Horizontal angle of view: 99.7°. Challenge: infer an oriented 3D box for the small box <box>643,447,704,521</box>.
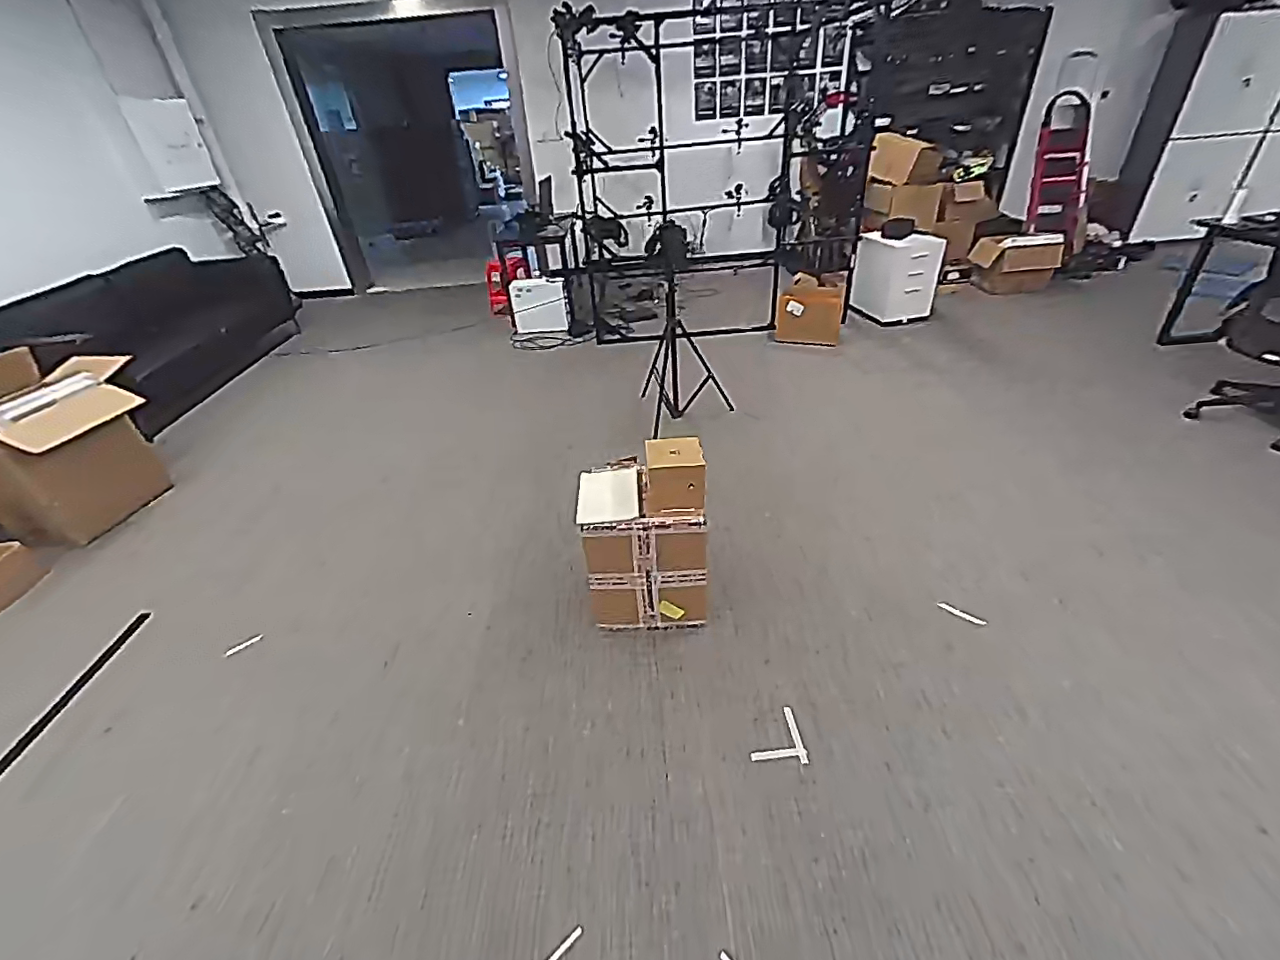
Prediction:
[{"bbox_3d":[0.102,0.012,1.712,0.179,0.176,0.168,-5,35,-2],"label":"small box"}]
